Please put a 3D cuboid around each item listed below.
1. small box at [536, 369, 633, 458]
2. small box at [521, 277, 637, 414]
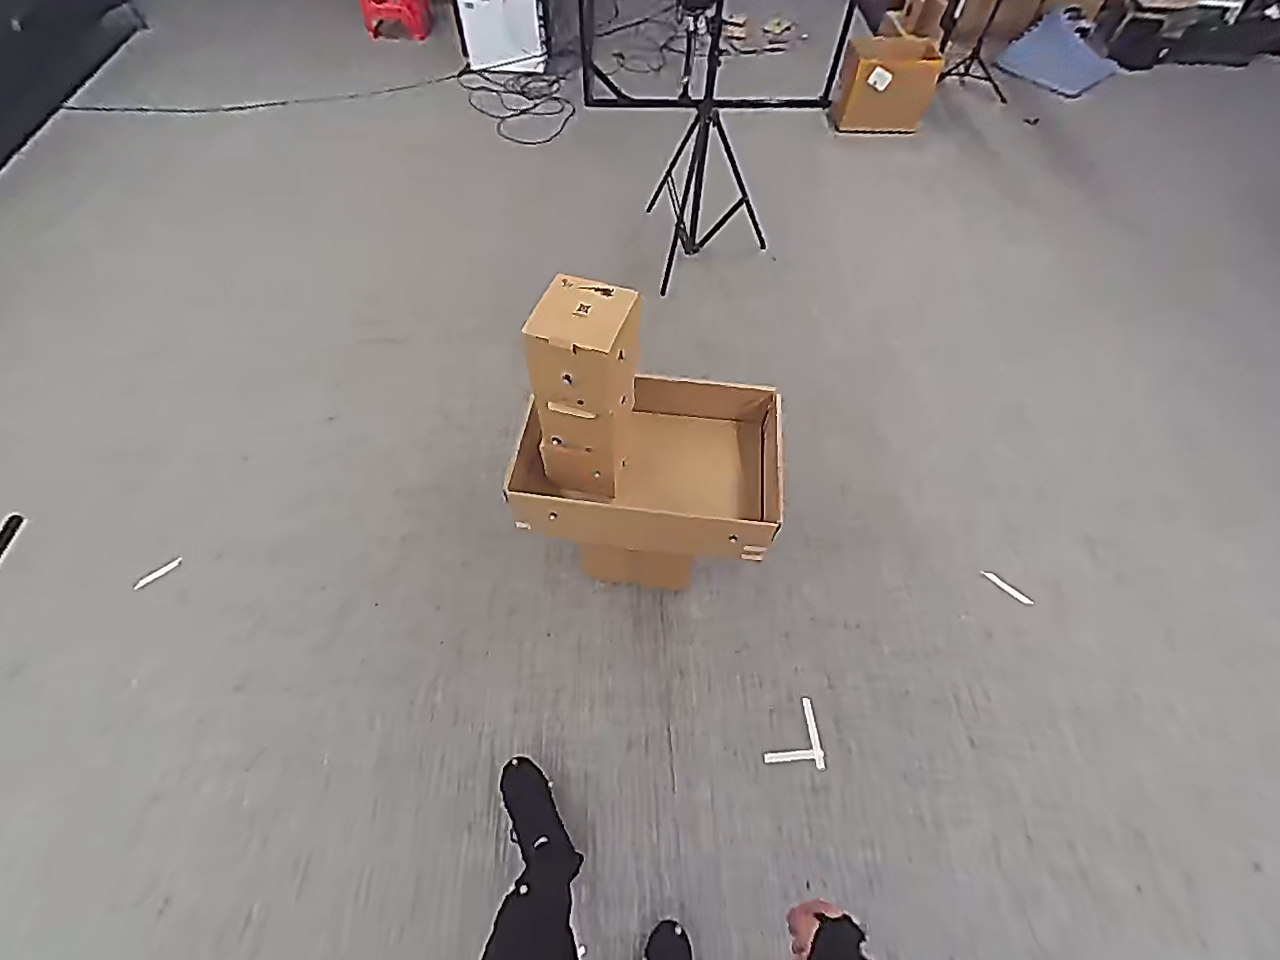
[{"bbox_3d":[-0.111,-0.171,1.184,0.168,0.176,0.179,13,58,7],"label":"small box"},{"bbox_3d":[-0.107,-0.254,1.041,0.168,0.176,0.179,16,59,8],"label":"small box"}]
